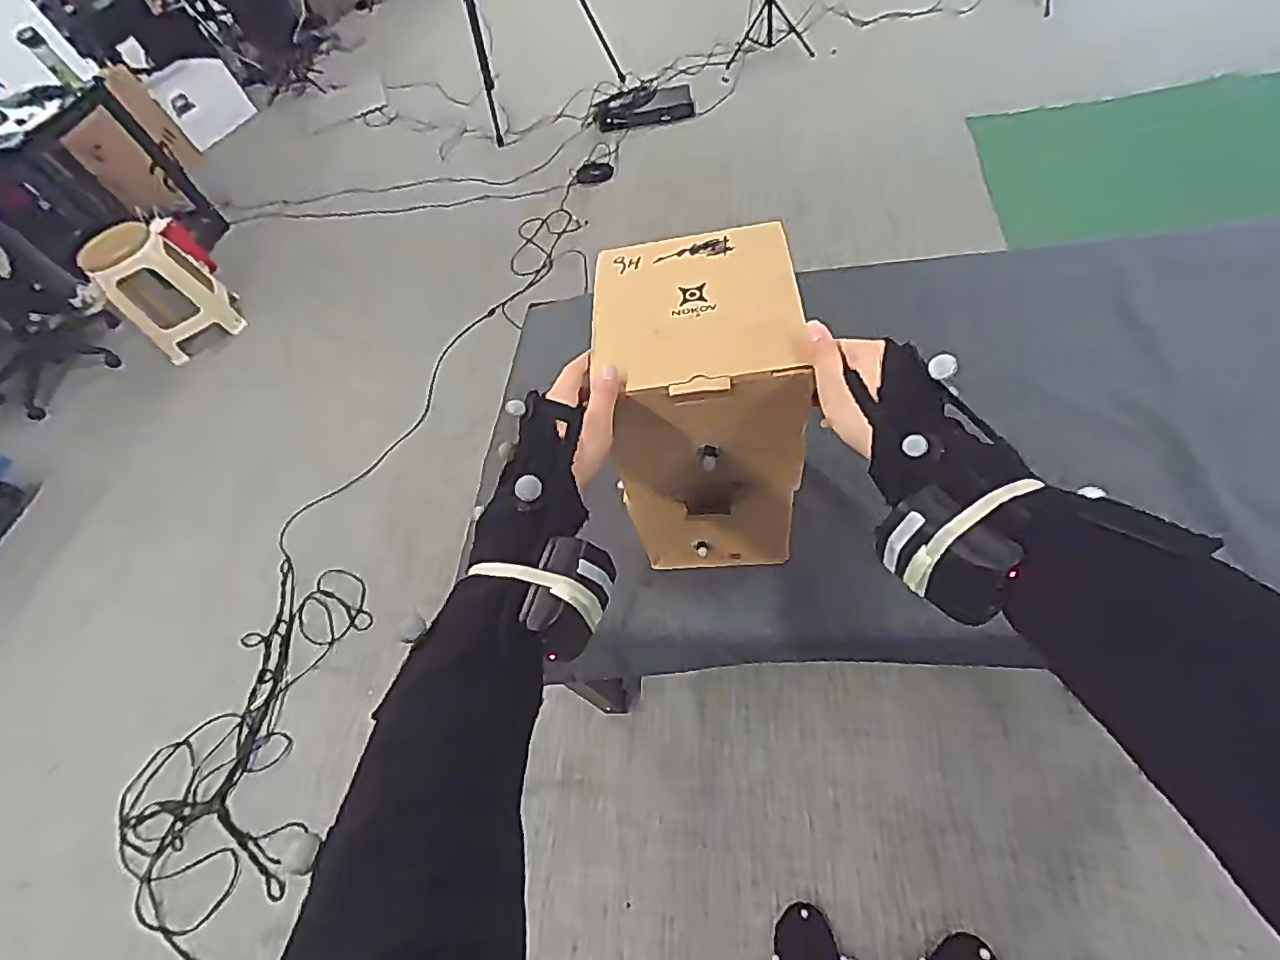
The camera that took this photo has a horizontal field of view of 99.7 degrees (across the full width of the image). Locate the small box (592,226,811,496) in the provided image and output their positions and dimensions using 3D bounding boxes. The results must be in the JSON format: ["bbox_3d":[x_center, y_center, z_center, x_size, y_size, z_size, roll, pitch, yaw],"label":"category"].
[{"bbox_3d":[0.059,-0.096,0.503,0.168,0.176,0.179,-6,58,9],"label":"small box"}]

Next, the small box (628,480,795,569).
[{"bbox_3d":[0.085,-0.010,0.639,0.168,0.176,0.179,-5,57,10],"label":"small box"}]
